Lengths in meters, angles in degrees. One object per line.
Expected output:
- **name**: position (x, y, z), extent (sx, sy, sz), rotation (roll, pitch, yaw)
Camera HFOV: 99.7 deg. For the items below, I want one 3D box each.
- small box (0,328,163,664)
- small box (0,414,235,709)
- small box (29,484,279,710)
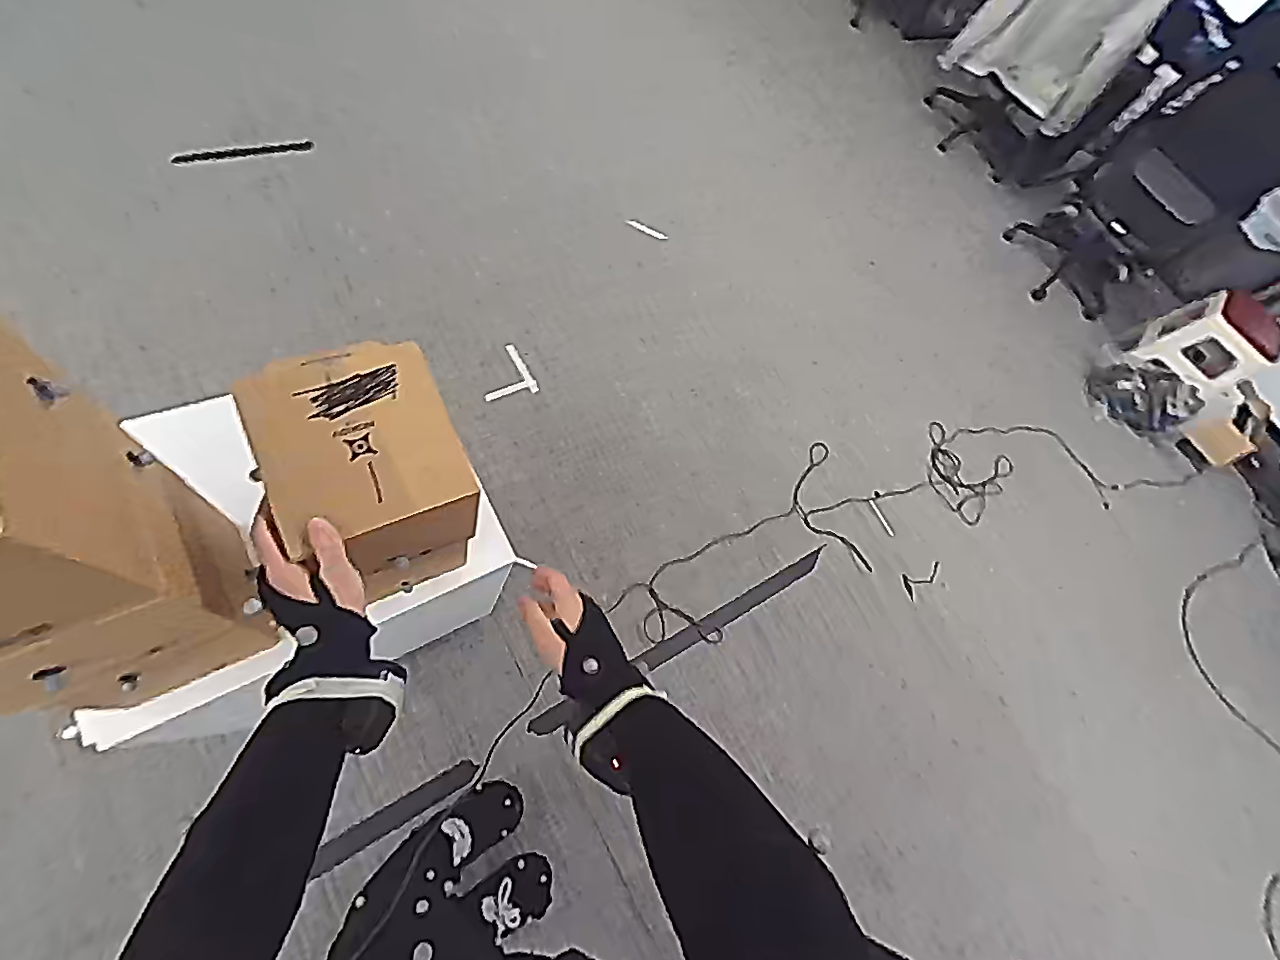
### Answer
- **small box**: position (-0.435, 0.014, 0.314), extent (0.168, 0.176, 0.179), rotation (-26, 79, -25)
- **small box**: position (-0.485, 0.076, 0.456), extent (0.168, 0.176, 0.179), rotation (-25, 78, -26)
- **small box**: position (-0.537, 0.135, 0.599), extent (0.168, 0.176, 0.179), rotation (-23, 77, -26)
